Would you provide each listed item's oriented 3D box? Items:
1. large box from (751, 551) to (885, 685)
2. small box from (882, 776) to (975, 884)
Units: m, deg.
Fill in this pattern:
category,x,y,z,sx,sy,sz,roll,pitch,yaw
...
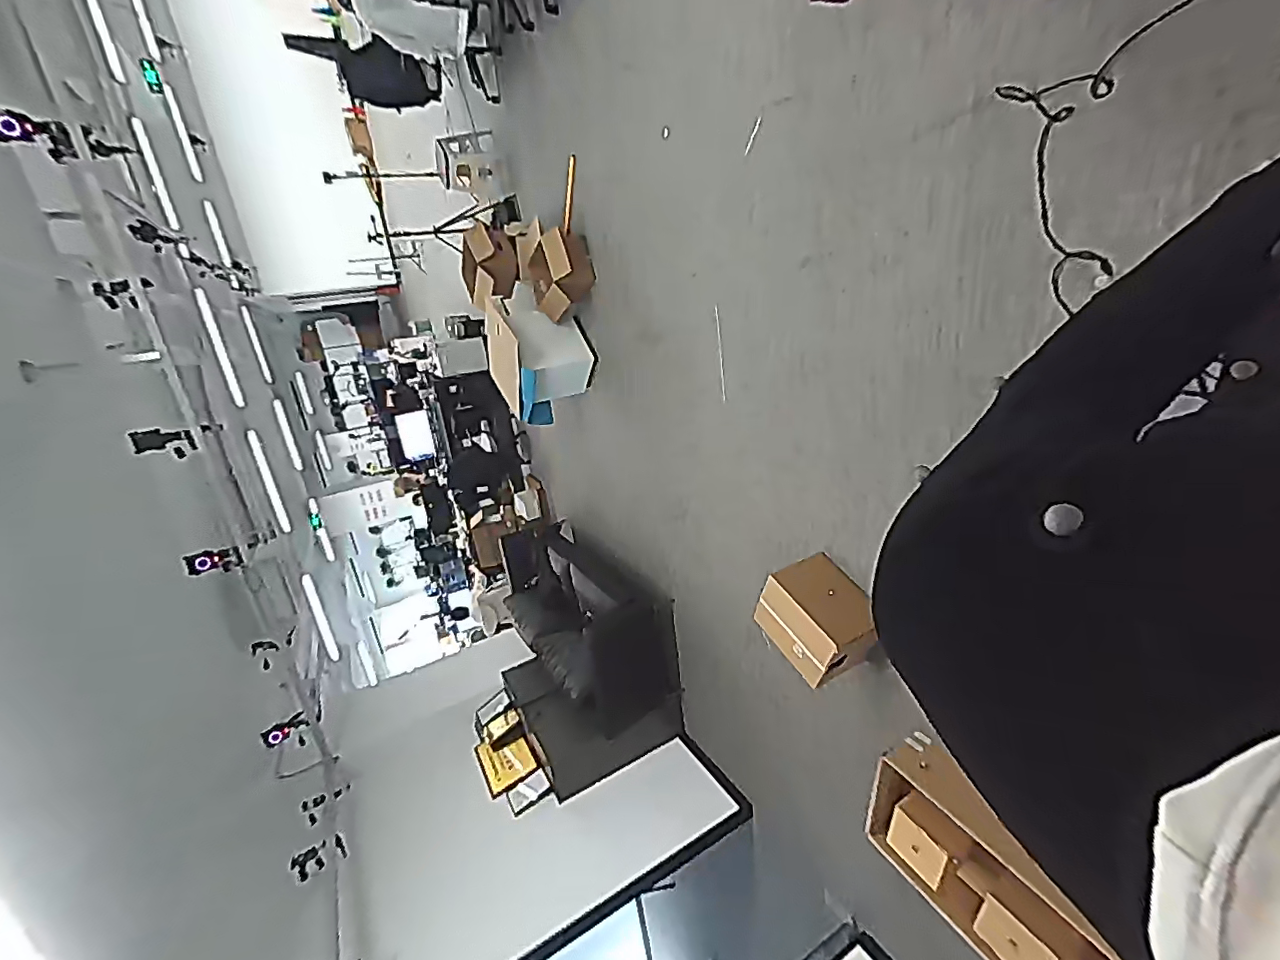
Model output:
category,x,y,z,sx,sy,sz,roll,pitch,yaw
large box,0.749,0.577,2.323,0.408,0.320,0.320,48,145,39
small box,0.852,1.029,1.597,0.168,0.176,0.179,35,134,51
